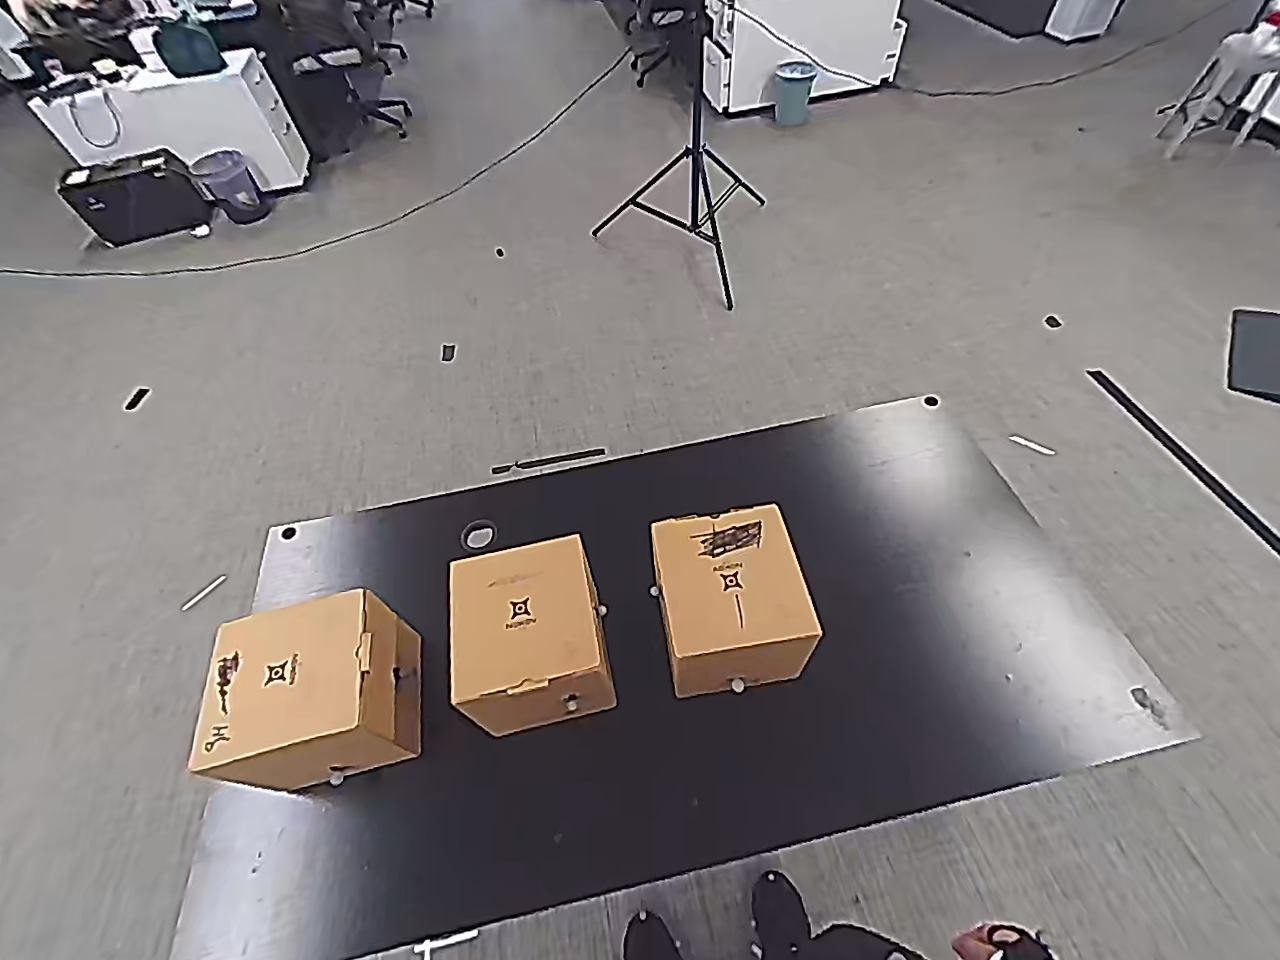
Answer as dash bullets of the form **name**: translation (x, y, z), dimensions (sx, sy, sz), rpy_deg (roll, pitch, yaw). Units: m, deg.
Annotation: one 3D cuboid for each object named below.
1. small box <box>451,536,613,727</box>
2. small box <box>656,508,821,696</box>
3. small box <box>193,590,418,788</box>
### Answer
- **small box**: translation (-0.134, 0.202, 0.696), dimensions (0.168, 0.176, 0.179), rpy_deg (-12, 53, -5)
- **small box**: translation (0.112, 0.161, 0.705), dimensions (0.168, 0.176, 0.179), rpy_deg (-8, 54, -2)
- **small box**: translation (-0.388, 0.261, 0.669), dimensions (0.179, 0.176, 0.168), rpy_deg (-13, 54, -7)
